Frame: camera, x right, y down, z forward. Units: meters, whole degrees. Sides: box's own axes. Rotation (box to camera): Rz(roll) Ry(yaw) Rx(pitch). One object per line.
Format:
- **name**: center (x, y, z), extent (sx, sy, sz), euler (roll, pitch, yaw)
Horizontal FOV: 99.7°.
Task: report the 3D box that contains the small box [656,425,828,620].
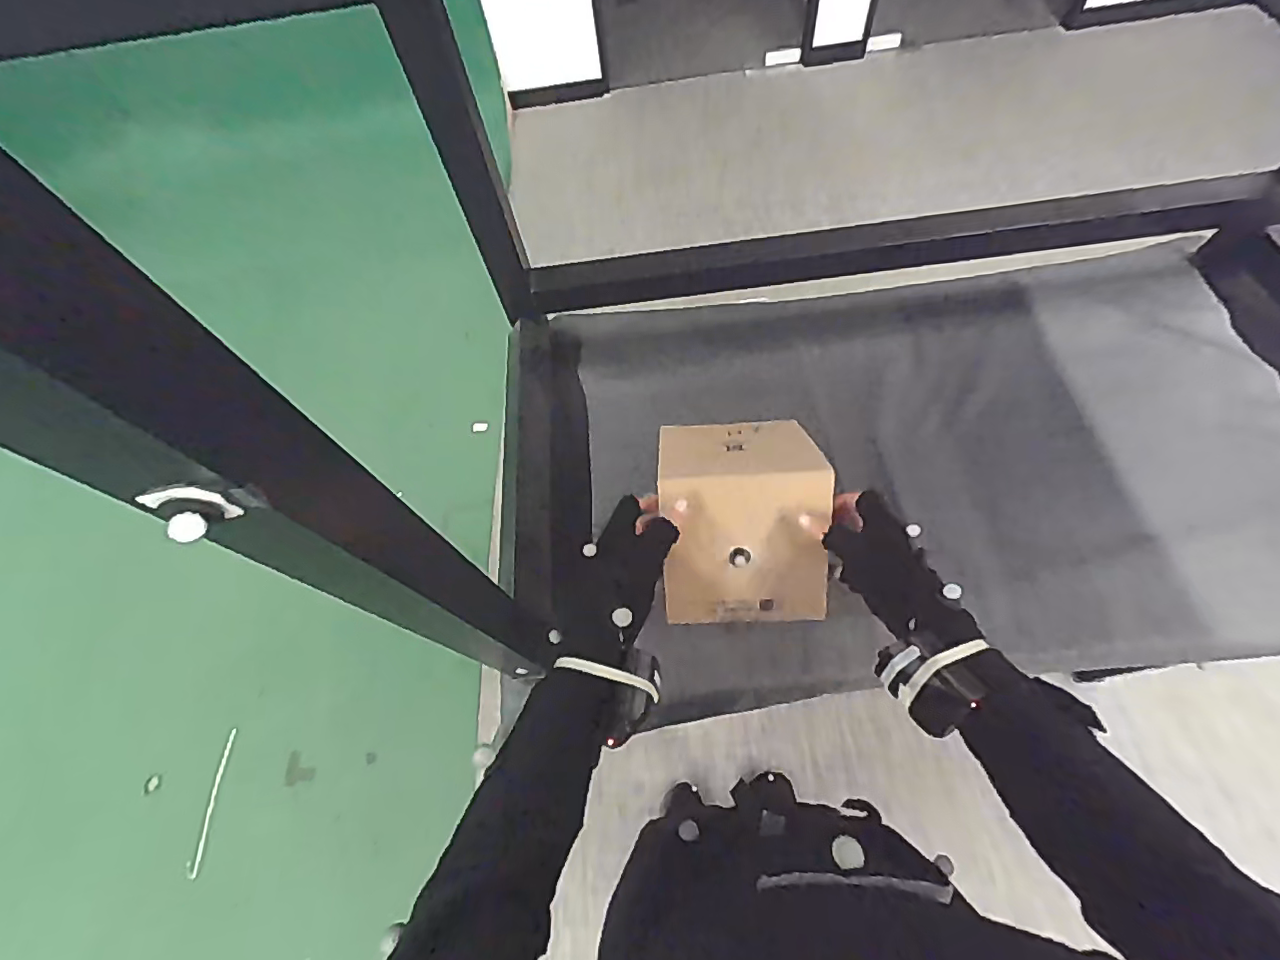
- **small box**: center (0.108, 0.045, 0.618), extent (0.168, 0.176, 0.179), euler (-2, 23, 4)
